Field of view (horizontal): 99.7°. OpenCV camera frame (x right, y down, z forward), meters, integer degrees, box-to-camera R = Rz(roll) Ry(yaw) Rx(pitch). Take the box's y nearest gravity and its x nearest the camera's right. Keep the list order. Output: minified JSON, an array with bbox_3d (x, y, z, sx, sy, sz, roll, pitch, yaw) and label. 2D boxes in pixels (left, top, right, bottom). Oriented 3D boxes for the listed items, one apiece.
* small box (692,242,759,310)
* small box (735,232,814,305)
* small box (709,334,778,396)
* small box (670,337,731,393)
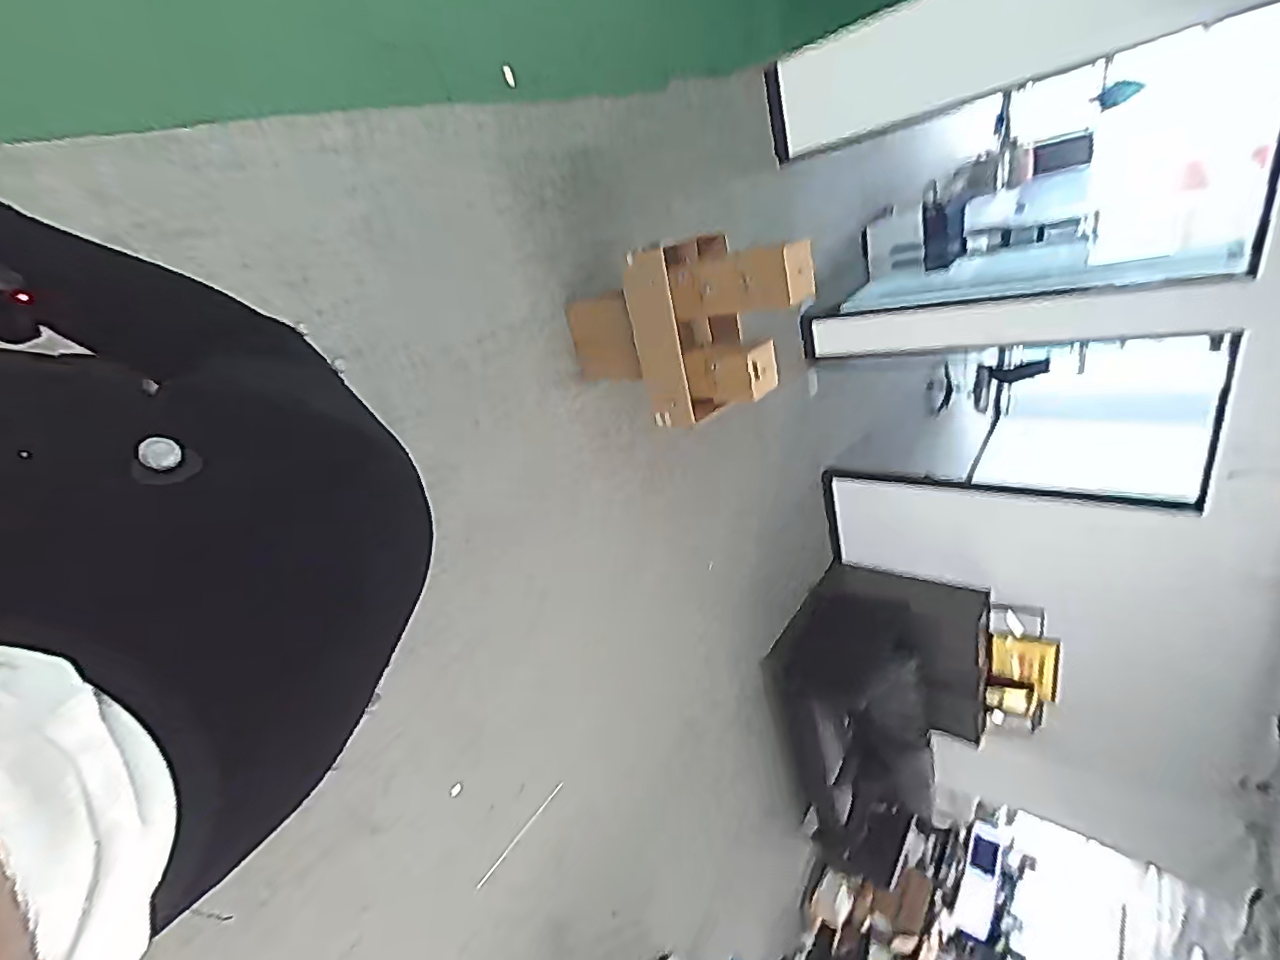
[{"bbox_3d":[0.293,-0.665,1.766,0.179,0.176,0.168,-37,122,-39],"label":"small box"},{"bbox_3d":[0.414,-0.646,1.658,0.179,0.176,0.168,-36,121,-39],"label":"small box"},{"bbox_3d":[0.354,-0.399,1.881,0.179,0.176,0.168,-37,123,-39],"label":"small box"},{"bbox_3d":[0.233,-0.427,1.990,0.179,0.176,0.168,-32,119,-40],"label":"small box"}]
